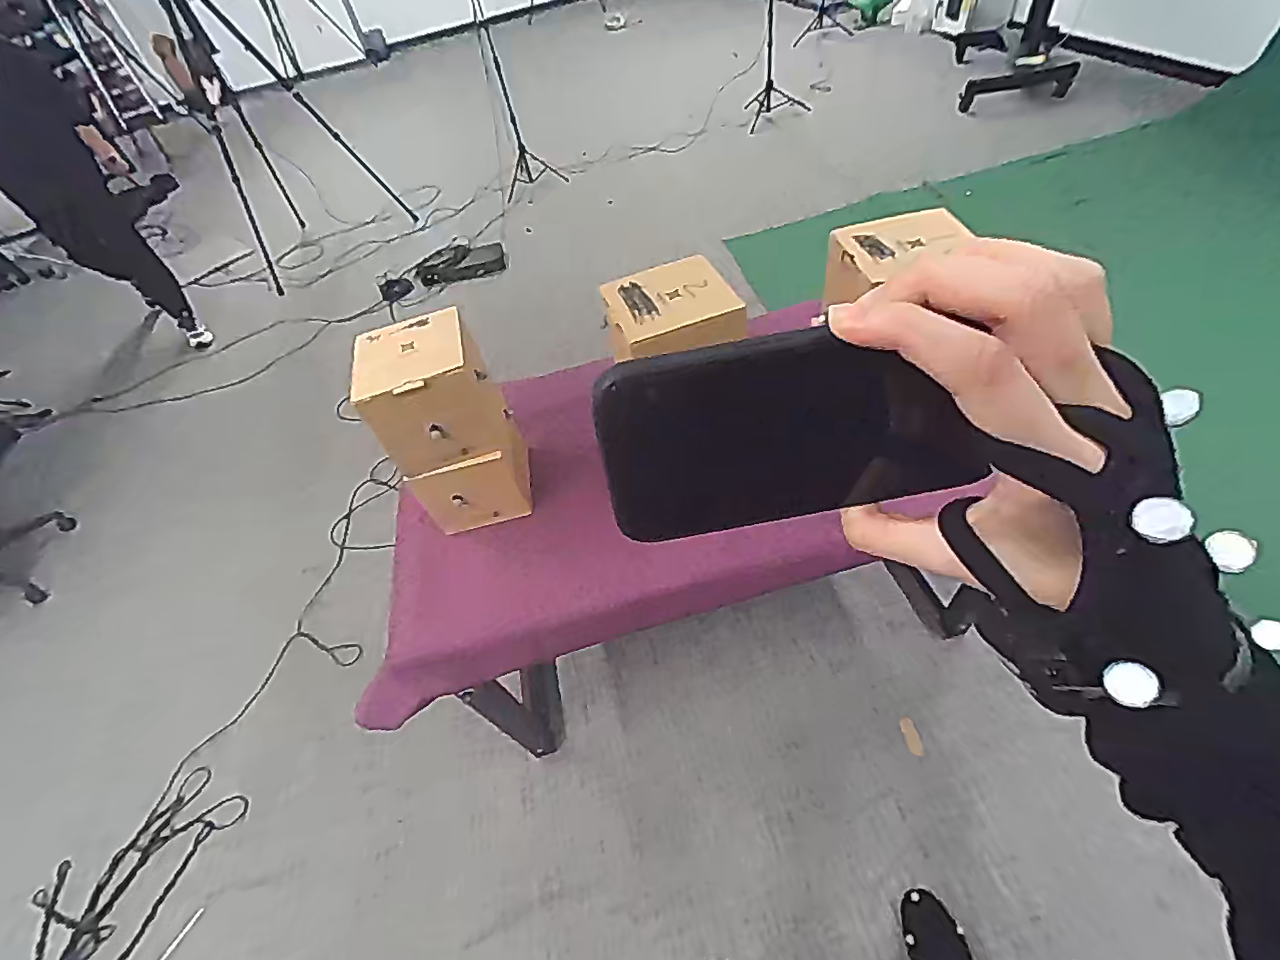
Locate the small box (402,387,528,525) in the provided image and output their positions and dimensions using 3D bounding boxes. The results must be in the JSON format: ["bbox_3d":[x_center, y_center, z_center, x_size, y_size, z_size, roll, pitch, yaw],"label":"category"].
[{"bbox_3d":[-0.309,-0.036,0.988,0.168,0.176,0.179,-14,50,0],"label":"small box"}]

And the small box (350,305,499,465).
[{"bbox_3d":[-0.336,-0.144,0.867,0.168,0.176,0.179,-17,51,-4],"label":"small box"}]

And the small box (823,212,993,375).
[{"bbox_3d":[0.393,-0.281,0.836,0.179,0.176,0.168,-9,50,3],"label":"small box"}]
